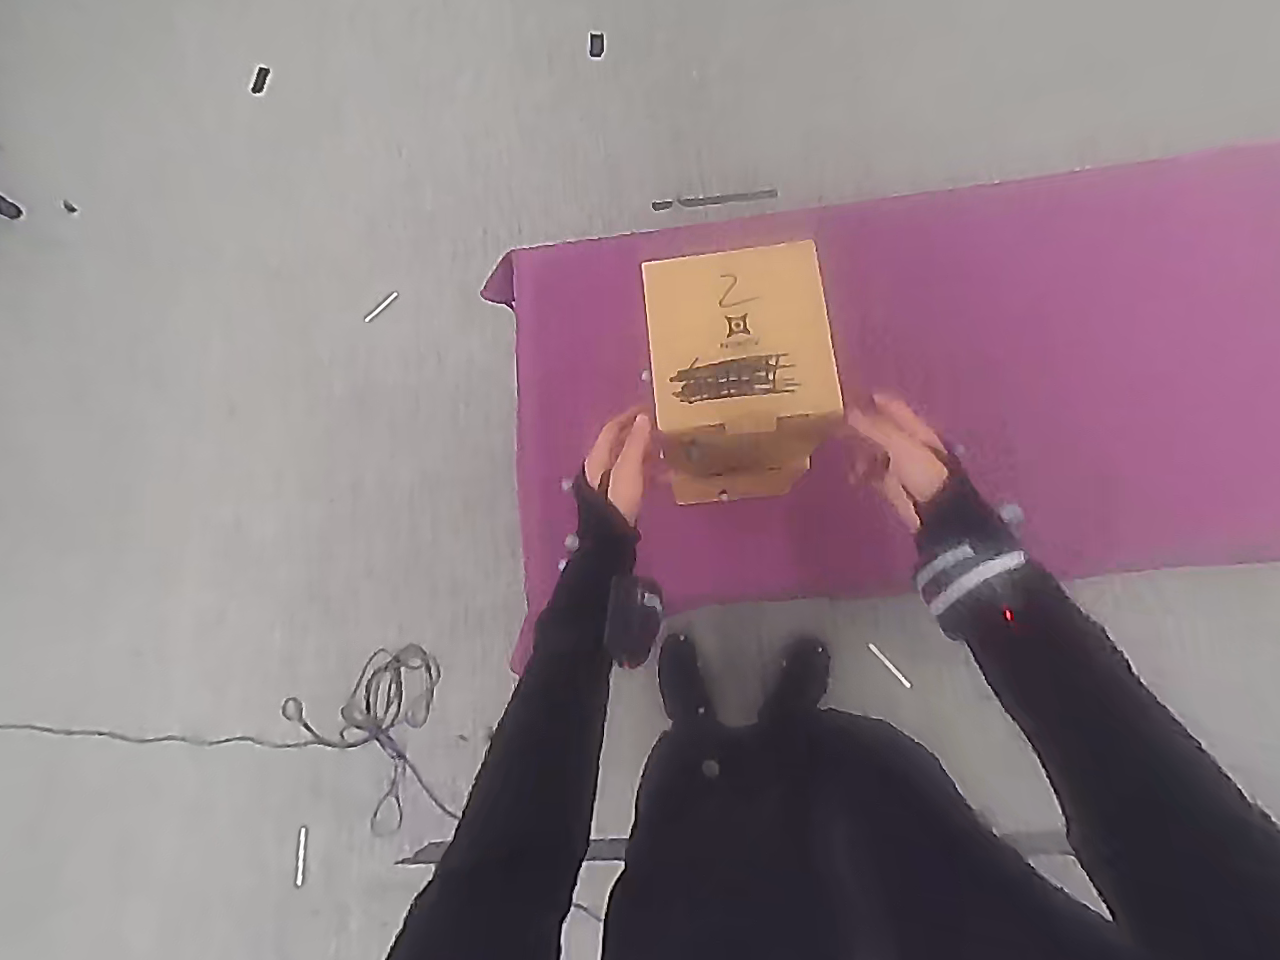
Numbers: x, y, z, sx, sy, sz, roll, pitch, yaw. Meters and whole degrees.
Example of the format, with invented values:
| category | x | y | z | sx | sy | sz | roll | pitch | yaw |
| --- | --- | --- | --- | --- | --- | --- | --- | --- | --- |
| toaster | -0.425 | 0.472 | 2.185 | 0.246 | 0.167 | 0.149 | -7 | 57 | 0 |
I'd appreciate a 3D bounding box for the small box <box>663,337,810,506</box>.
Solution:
| category | x | y | z | sx | sy | sz | roll | pitch | yaw |
| --- | --- | --- | --- | --- | --- | --- | --- | --- | --- |
| small box | 0.120 | -0.070 | 0.732 | 0.168 | 0.176 | 0.179 | -6 | 77 | 5 |
